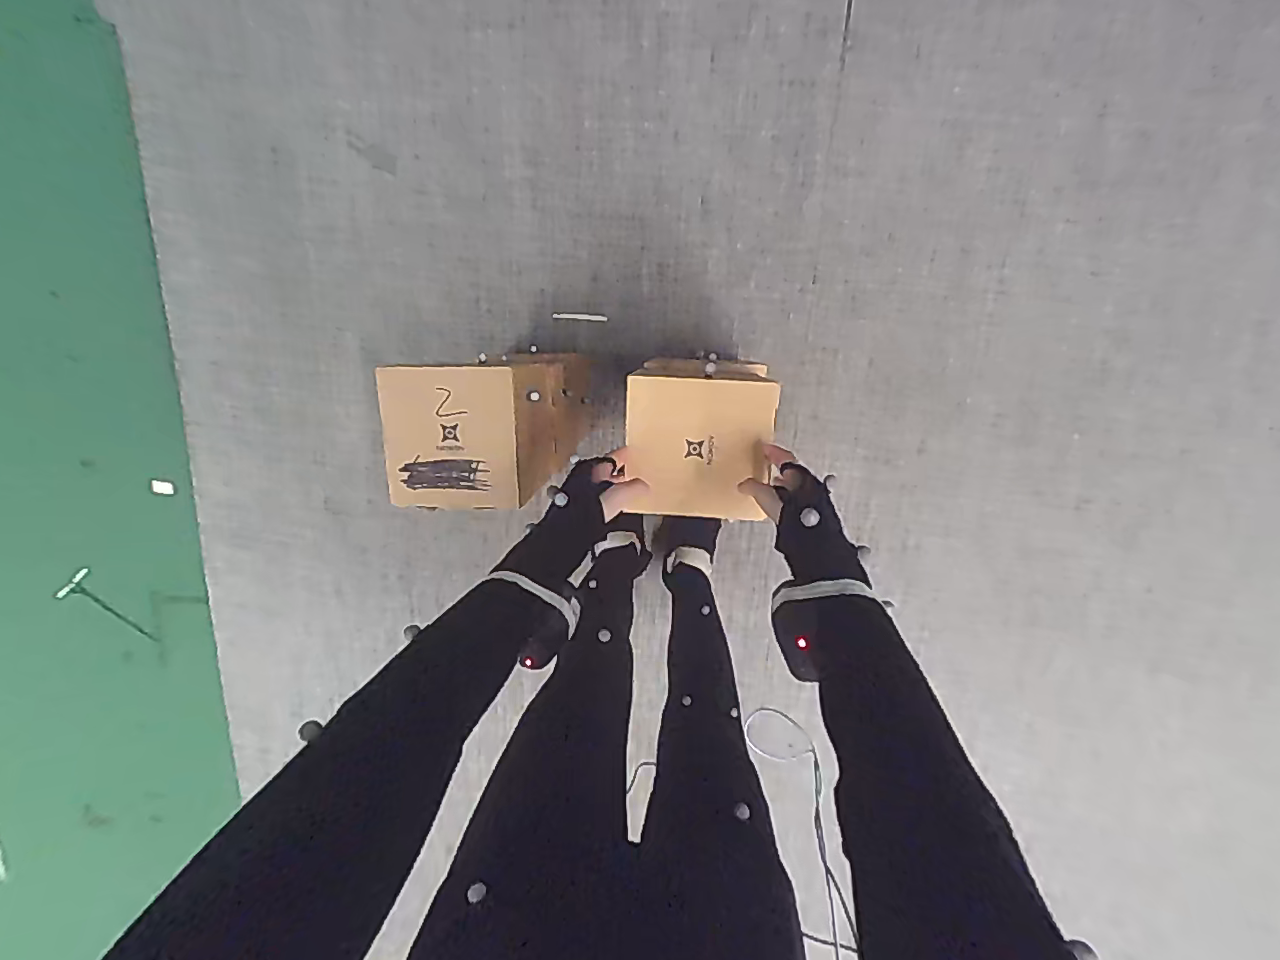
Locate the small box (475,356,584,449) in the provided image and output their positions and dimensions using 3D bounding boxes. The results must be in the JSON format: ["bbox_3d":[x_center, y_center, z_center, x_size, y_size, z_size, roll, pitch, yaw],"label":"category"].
[{"bbox_3d":[-0.205,-0.156,1.058,0.179,0.176,0.168,0,104,4],"label":"small box"}]

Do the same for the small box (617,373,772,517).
[{"bbox_3d":[0.067,-0.056,0.727,0.179,0.176,0.168,3,103,2],"label":"small box"}]

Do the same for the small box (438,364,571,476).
[{"bbox_3d":[-0.213,-0.106,0.903,0.179,0.176,0.168,1,104,5],"label":"small box"}]
